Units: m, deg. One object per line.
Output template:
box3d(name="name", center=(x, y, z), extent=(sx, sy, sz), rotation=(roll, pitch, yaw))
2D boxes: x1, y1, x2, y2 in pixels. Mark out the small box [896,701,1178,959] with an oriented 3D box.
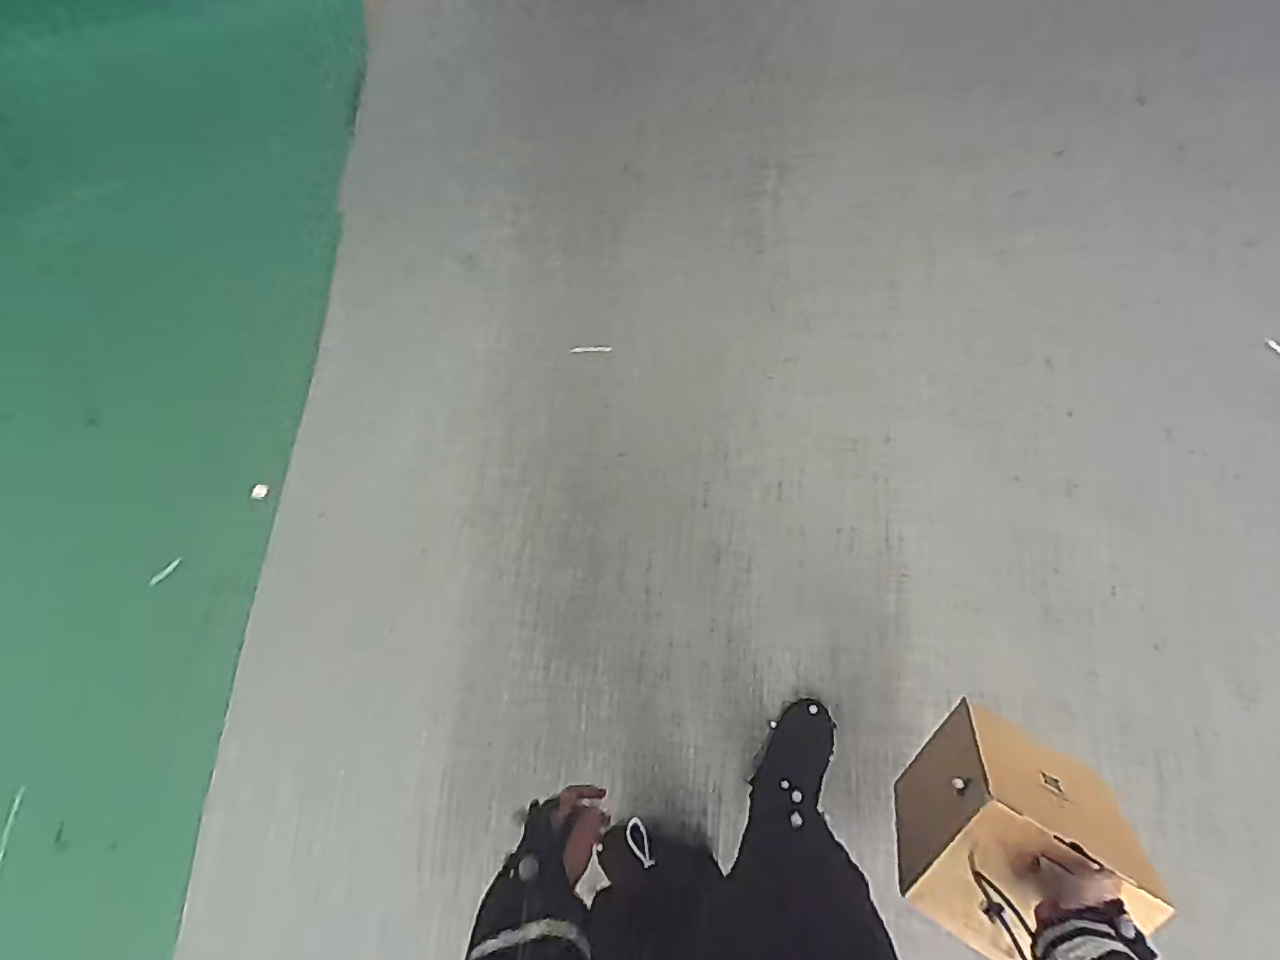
box3d(name="small box", center=(0.403, 0.394, 0.595), extent=(0.168, 0.179, 0.176), rotation=(29, 113, 14))
